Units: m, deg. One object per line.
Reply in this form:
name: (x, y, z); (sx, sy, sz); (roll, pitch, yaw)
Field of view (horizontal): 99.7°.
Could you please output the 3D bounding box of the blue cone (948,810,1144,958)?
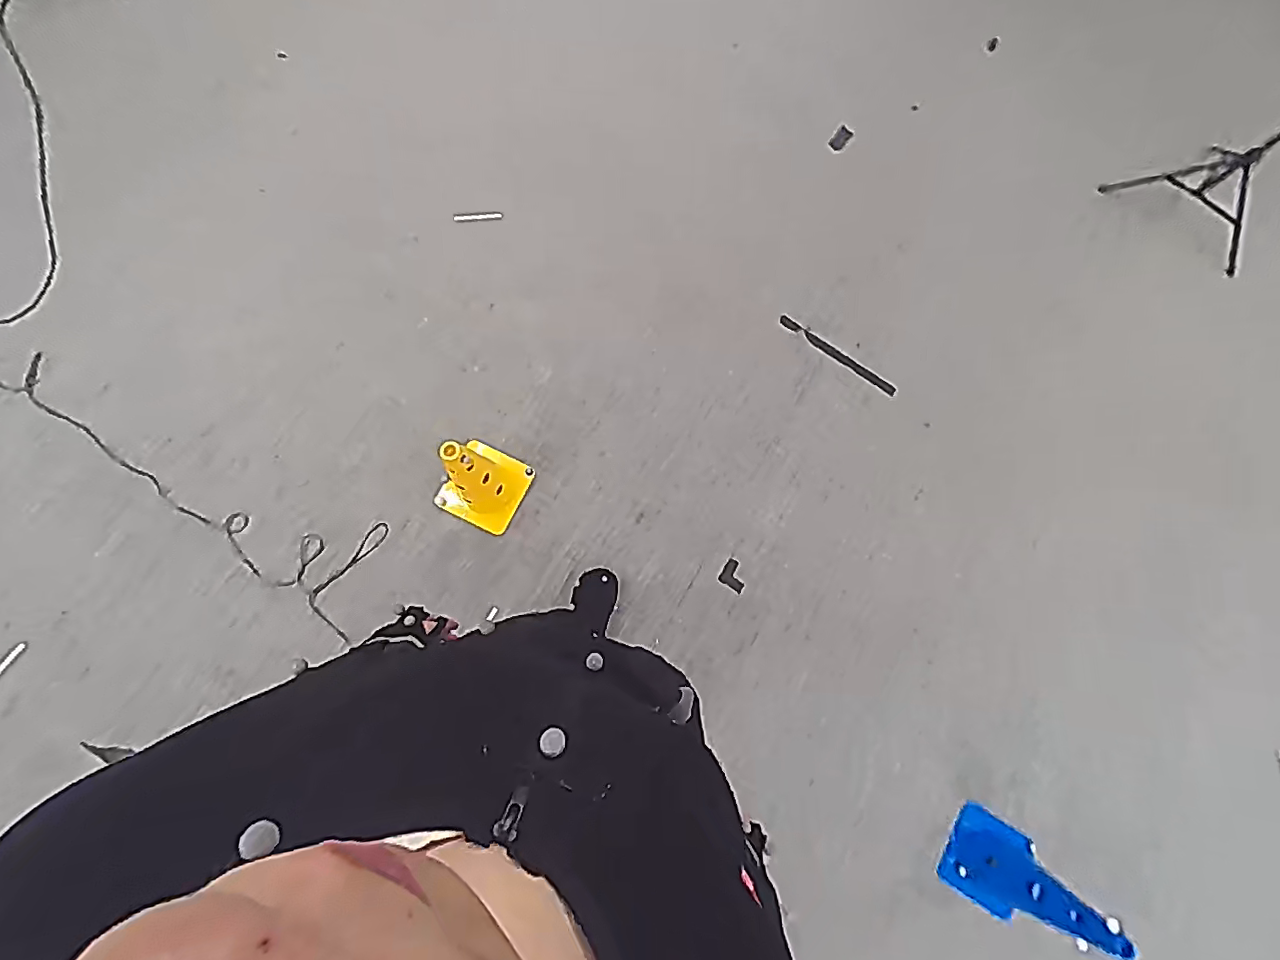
blue cone: (0.861, 0.884, 1.141); (0.193, 0.380, 0.192); (34, 76, 3)
